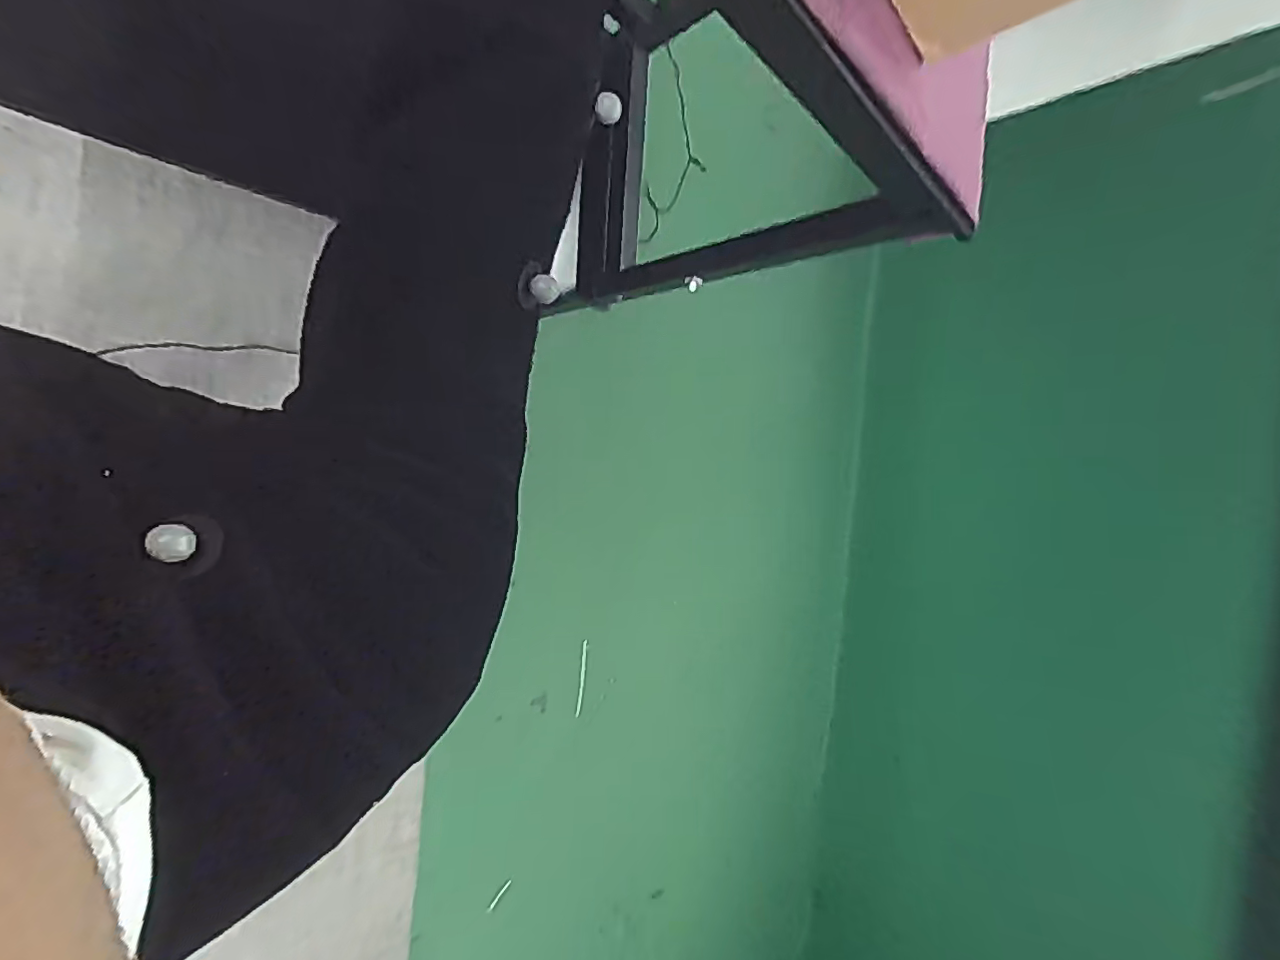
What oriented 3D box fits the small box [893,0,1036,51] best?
[{"bbox_3d":[0.301,-0.518,0.451,0.179,0.176,0.168,8,88,-46],"label":"small box"}]
